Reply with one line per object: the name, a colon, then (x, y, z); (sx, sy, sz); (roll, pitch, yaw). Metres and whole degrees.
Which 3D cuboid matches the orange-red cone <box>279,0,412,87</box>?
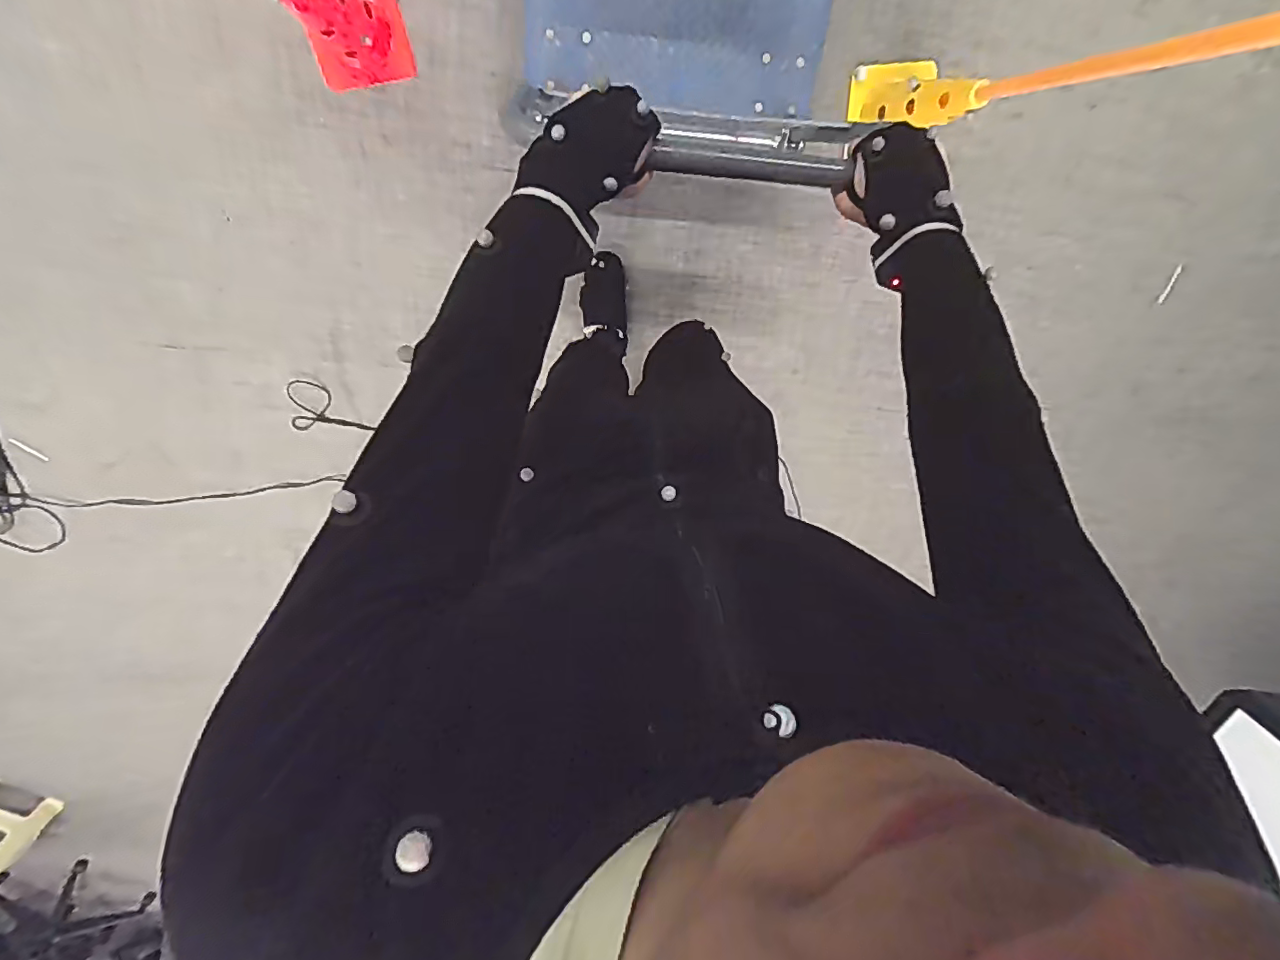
orange-red cone: (-0.578, -0.853, 0.962); (0.199, 0.360, 0.198); (-8, 119, 1)
